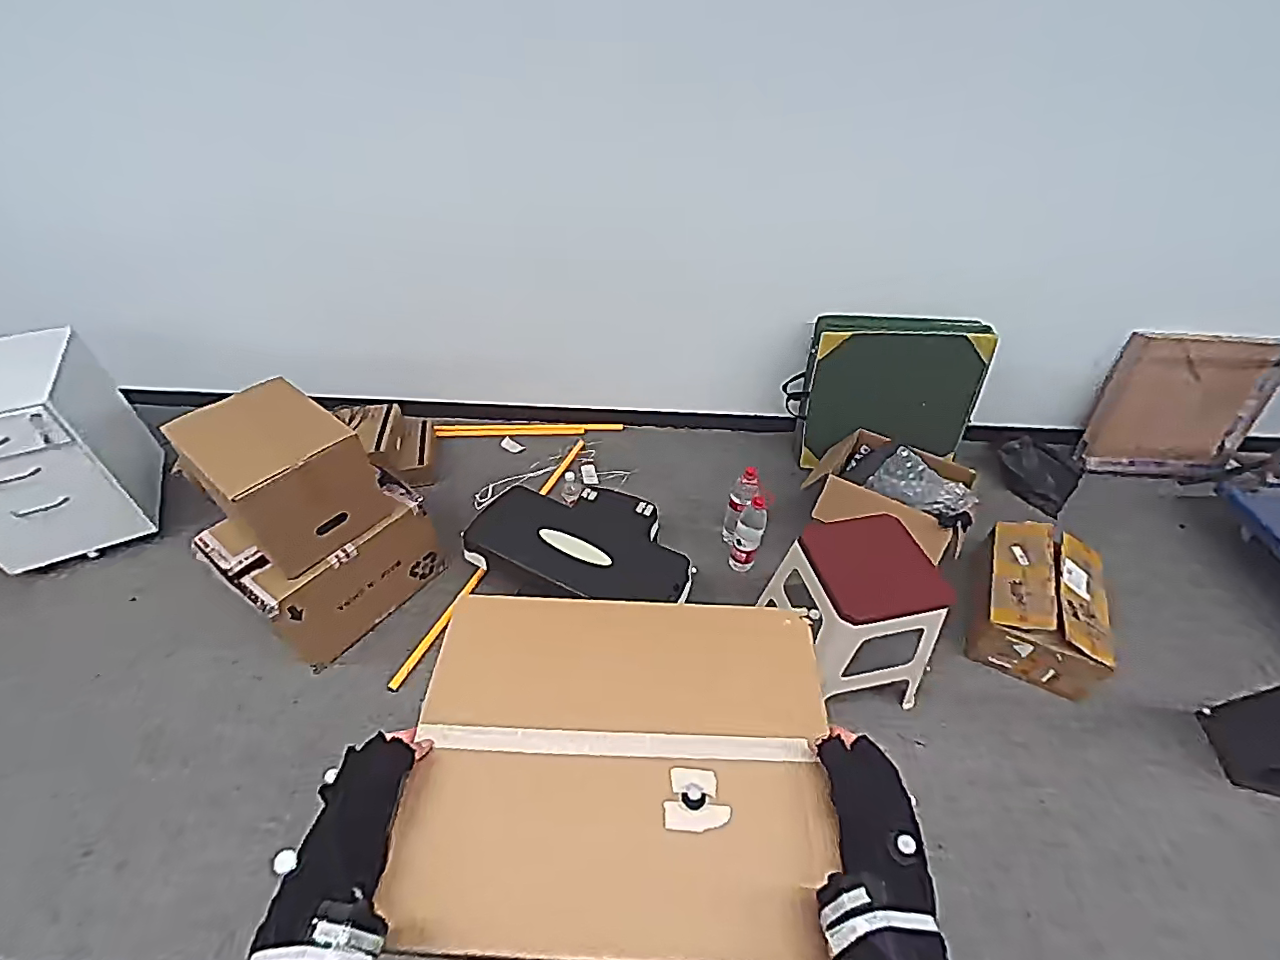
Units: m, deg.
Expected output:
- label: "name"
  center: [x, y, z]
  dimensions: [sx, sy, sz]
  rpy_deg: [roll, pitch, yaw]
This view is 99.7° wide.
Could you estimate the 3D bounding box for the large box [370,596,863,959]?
- label: "large box"
  center: [-0.019, 0.357, 0.637]
  dimensions: [0.408, 0.320, 0.320]
  rpy_deg: [3, 47, 1]
